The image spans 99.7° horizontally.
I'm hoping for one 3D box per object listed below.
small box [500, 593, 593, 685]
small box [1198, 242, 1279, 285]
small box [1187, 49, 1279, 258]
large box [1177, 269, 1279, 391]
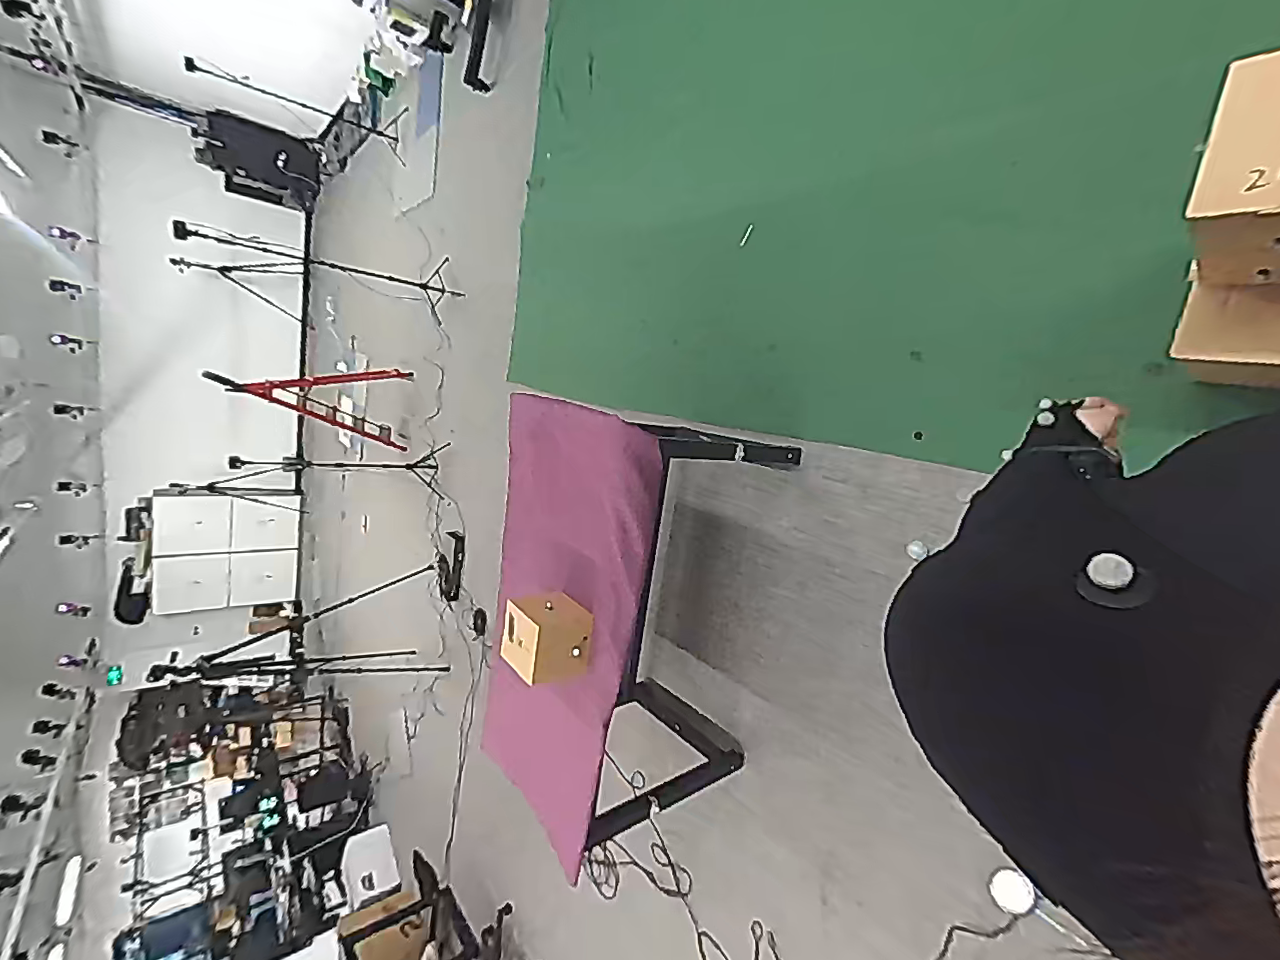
[{"bbox_3d":[-0.248,0.409,1.426,0.179,0.176,0.168,20,105,48],"label":"small box"},{"bbox_3d":[0.901,-0.376,0.733,0.168,0.176,0.179,21,105,47],"label":"small box"},{"bbox_3d":[0.777,-0.375,0.624,0.168,0.176,0.179,20,104,48],"label":"small box"},{"bbox_3d":[1.143,-0.299,0.820,0.408,0.320,0.320,21,105,47],"label":"large box"}]
